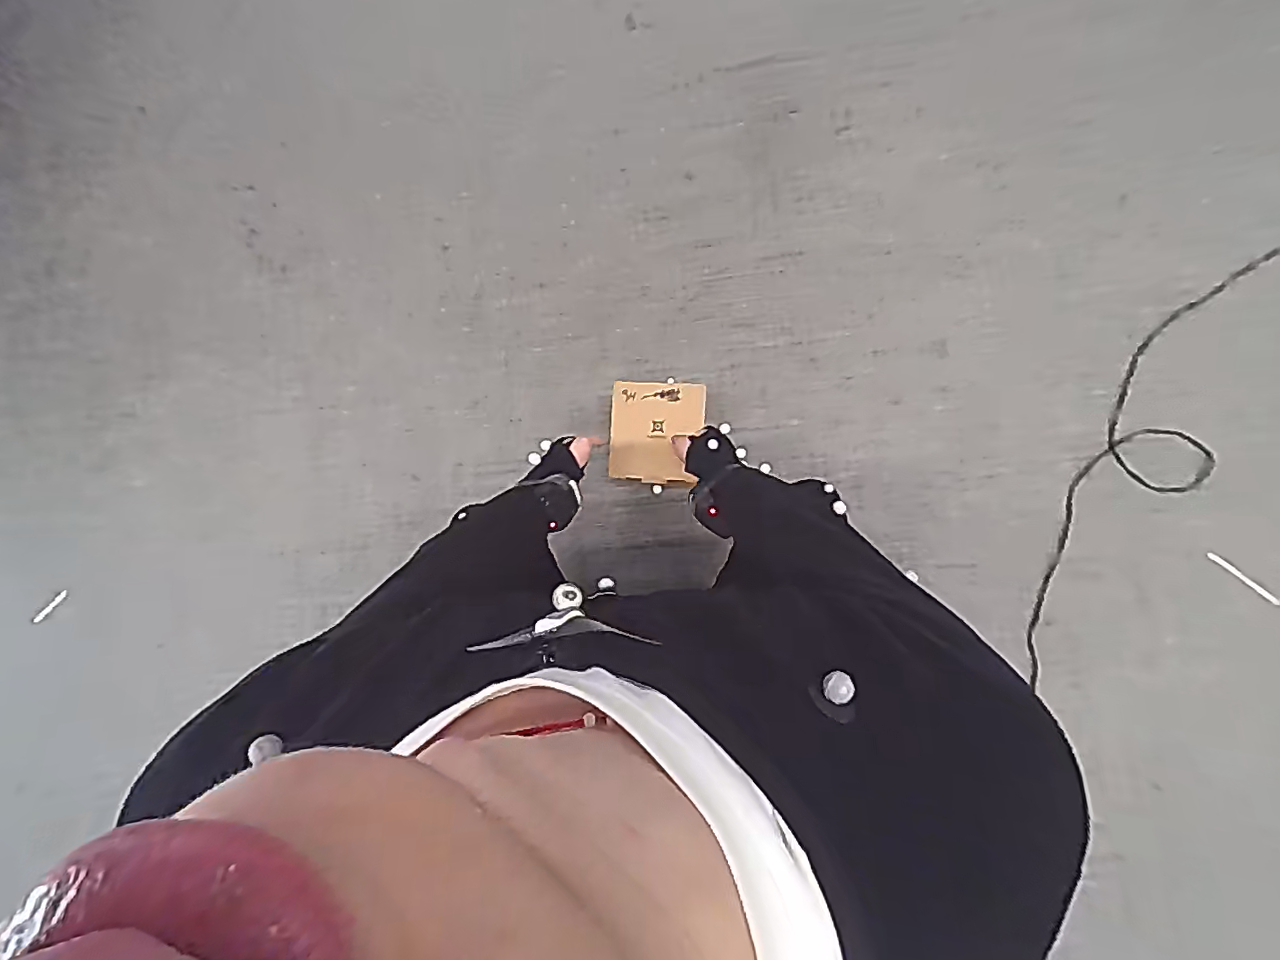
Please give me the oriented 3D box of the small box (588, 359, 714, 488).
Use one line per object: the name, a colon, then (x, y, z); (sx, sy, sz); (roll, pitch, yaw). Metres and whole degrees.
small box: (0.029, -0.095, 1.023); (0.179, 0.176, 0.168); (-27, 81, 6)
